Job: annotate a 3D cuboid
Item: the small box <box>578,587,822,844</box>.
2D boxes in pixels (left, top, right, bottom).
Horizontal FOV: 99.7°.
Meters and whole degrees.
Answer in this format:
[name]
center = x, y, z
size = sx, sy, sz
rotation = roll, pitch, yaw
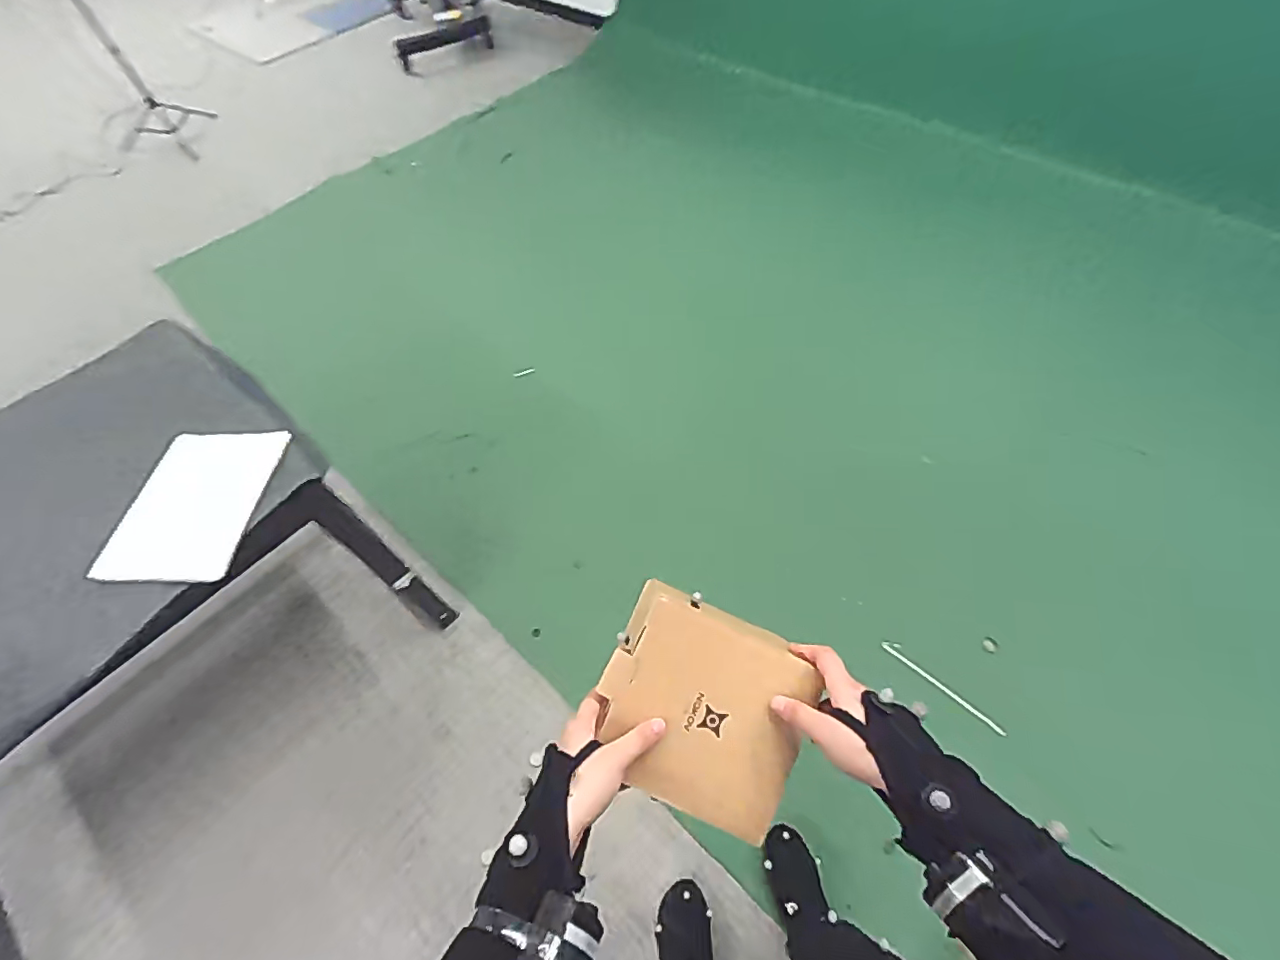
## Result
[small box]
center = 0.054, 0.221, 0.563
size = 0.179, 0.176, 0.168
rotation = 24, 84, 1
